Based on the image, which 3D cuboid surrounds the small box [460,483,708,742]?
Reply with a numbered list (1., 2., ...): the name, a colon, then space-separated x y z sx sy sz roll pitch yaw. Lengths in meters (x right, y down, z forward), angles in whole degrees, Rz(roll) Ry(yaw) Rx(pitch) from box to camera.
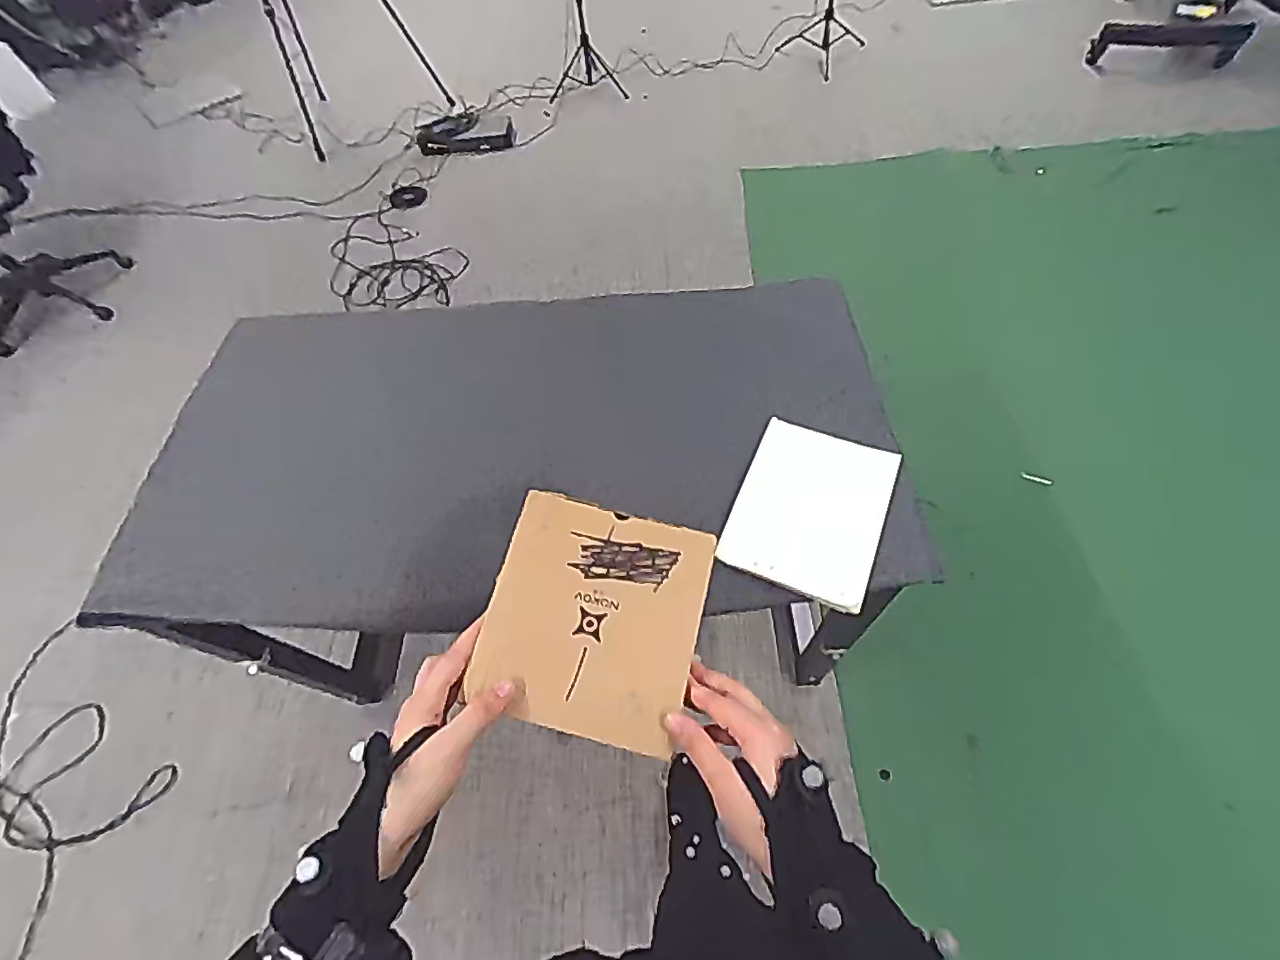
1. small box: -0.042 0.127 0.509 0.168 0.176 0.179 13 69 4
